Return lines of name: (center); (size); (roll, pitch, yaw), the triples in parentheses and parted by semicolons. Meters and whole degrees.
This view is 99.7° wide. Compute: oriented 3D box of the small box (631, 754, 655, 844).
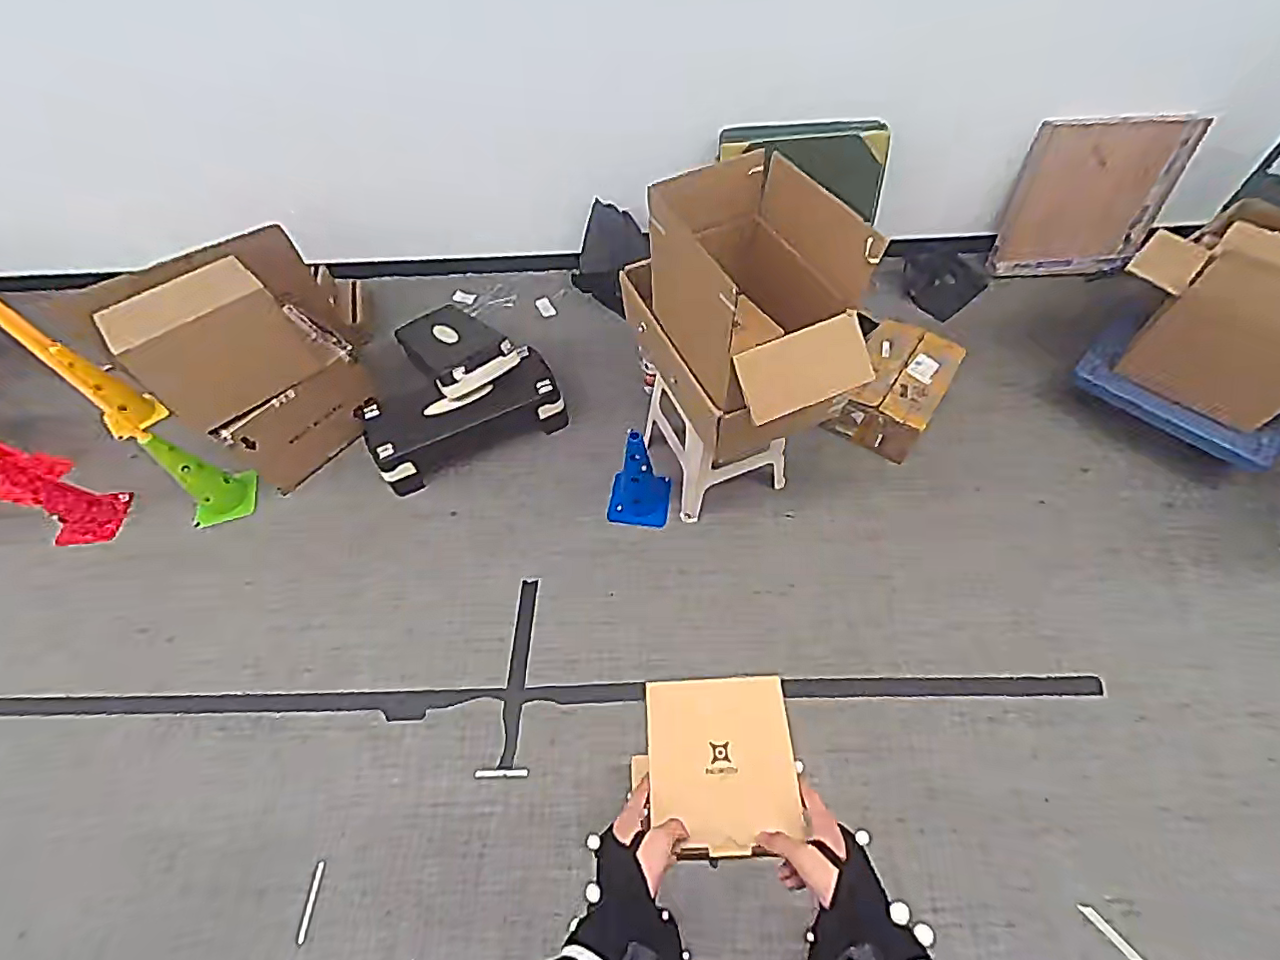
small box: (0.067, 0.759, 1.288); (0.168, 0.176, 0.179); (-3, 56, 1)

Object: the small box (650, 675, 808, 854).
small box: (0.096, 0.358, 0.675); (0.168, 0.176, 0.179); (-3, 54, 2)
